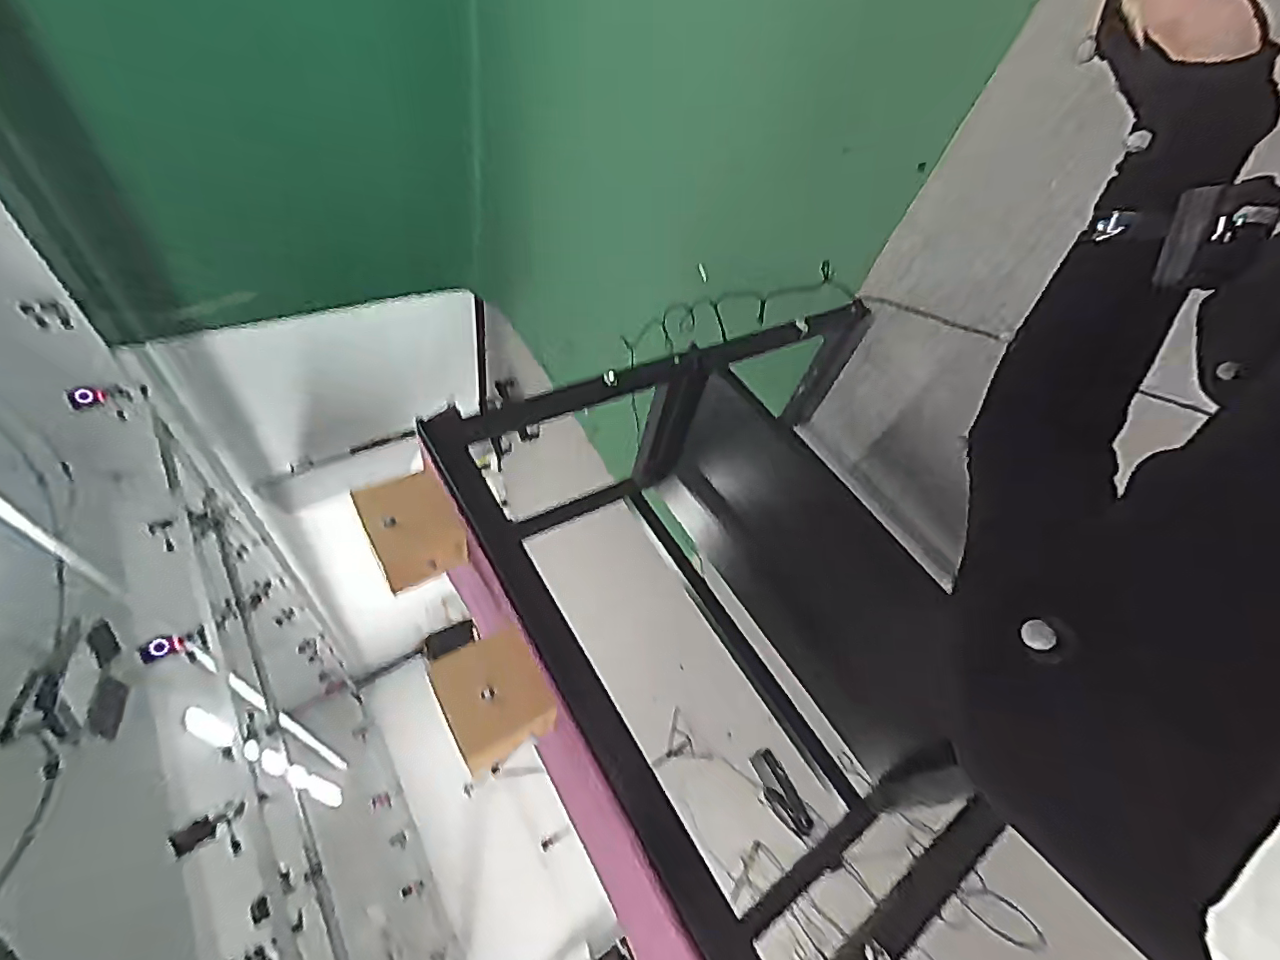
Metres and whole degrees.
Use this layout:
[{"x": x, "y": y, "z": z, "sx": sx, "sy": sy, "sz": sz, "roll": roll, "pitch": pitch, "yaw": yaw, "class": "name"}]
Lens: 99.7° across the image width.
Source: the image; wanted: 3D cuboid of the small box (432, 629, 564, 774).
[{"x": -0.257, "y": 0.395, "z": 0.985, "sx": 0.179, "sy": 0.176, "sz": 0.168, "roll": 53, "pitch": 151, "yaw": 24, "class": "small box"}]

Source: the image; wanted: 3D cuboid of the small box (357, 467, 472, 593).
[{"x": -0.465, "y": 0.102, "z": 1.138, "sx": 0.179, "sy": 0.176, "sz": 0.168, "roll": 56, "pitch": 149, "yaw": 20, "class": "small box"}]
